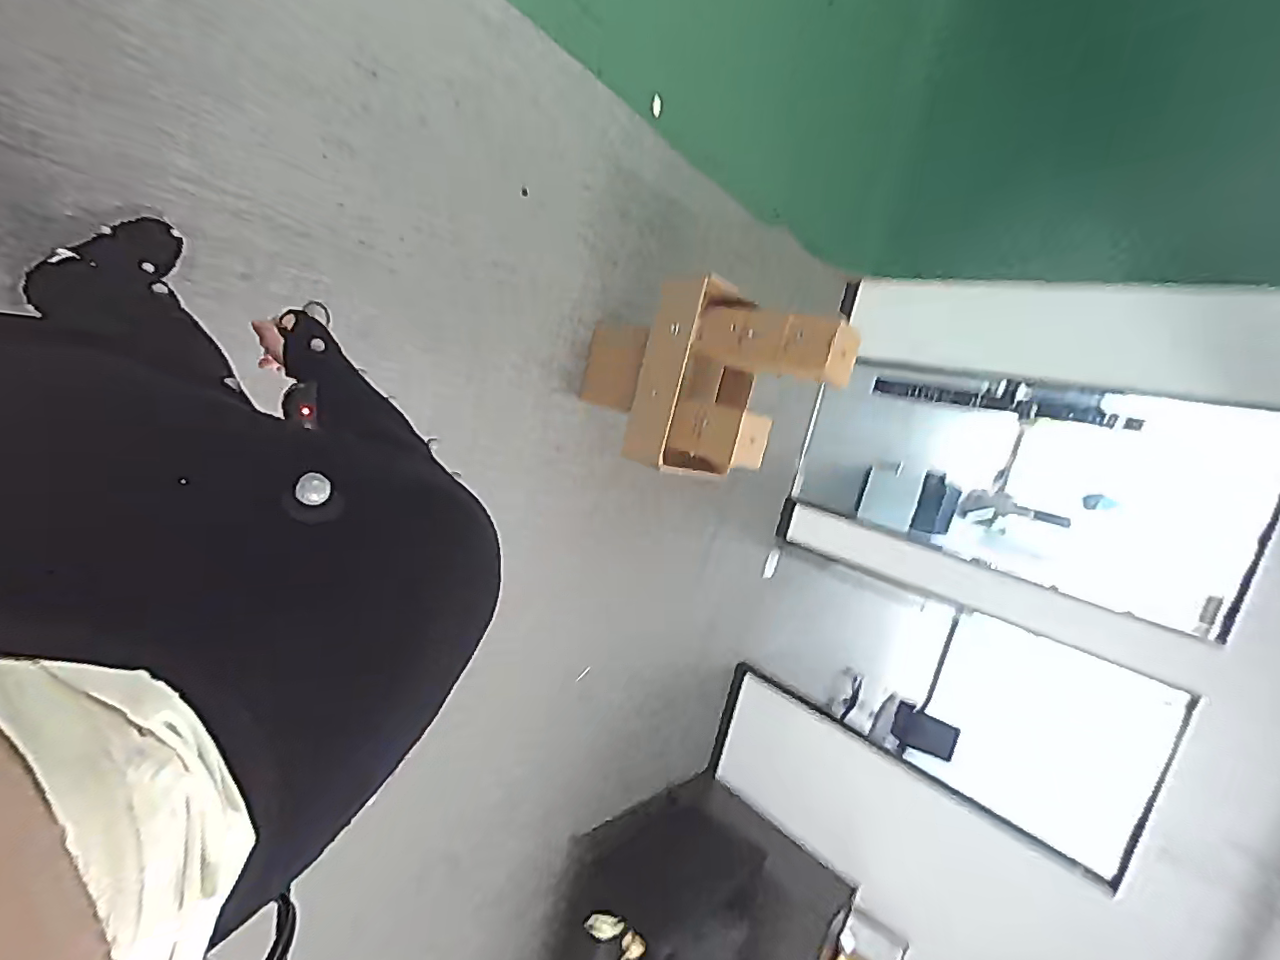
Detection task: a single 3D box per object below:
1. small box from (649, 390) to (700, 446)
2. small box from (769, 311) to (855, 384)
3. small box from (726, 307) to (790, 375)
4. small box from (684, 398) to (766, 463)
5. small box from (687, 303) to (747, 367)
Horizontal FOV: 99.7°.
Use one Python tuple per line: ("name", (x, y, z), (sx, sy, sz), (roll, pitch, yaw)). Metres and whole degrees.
("small box", (0.155, -0.202, 1.833), (0.179, 0.176, 0.168), (5, 102, -49))
("small box", (0.523, -0.407, 1.650), (0.179, 0.176, 0.168), (13, 96, -49))
("small box", (0.408, -0.454, 1.755), (0.179, 0.176, 0.168), (12, 96, -49))
("small box", (0.270, -0.159, 1.726), (0.179, 0.176, 0.168), (4, 102, -48))
("small box", (0.291, -0.500, 1.861), (0.179, 0.176, 0.168), (8, 100, -49))
